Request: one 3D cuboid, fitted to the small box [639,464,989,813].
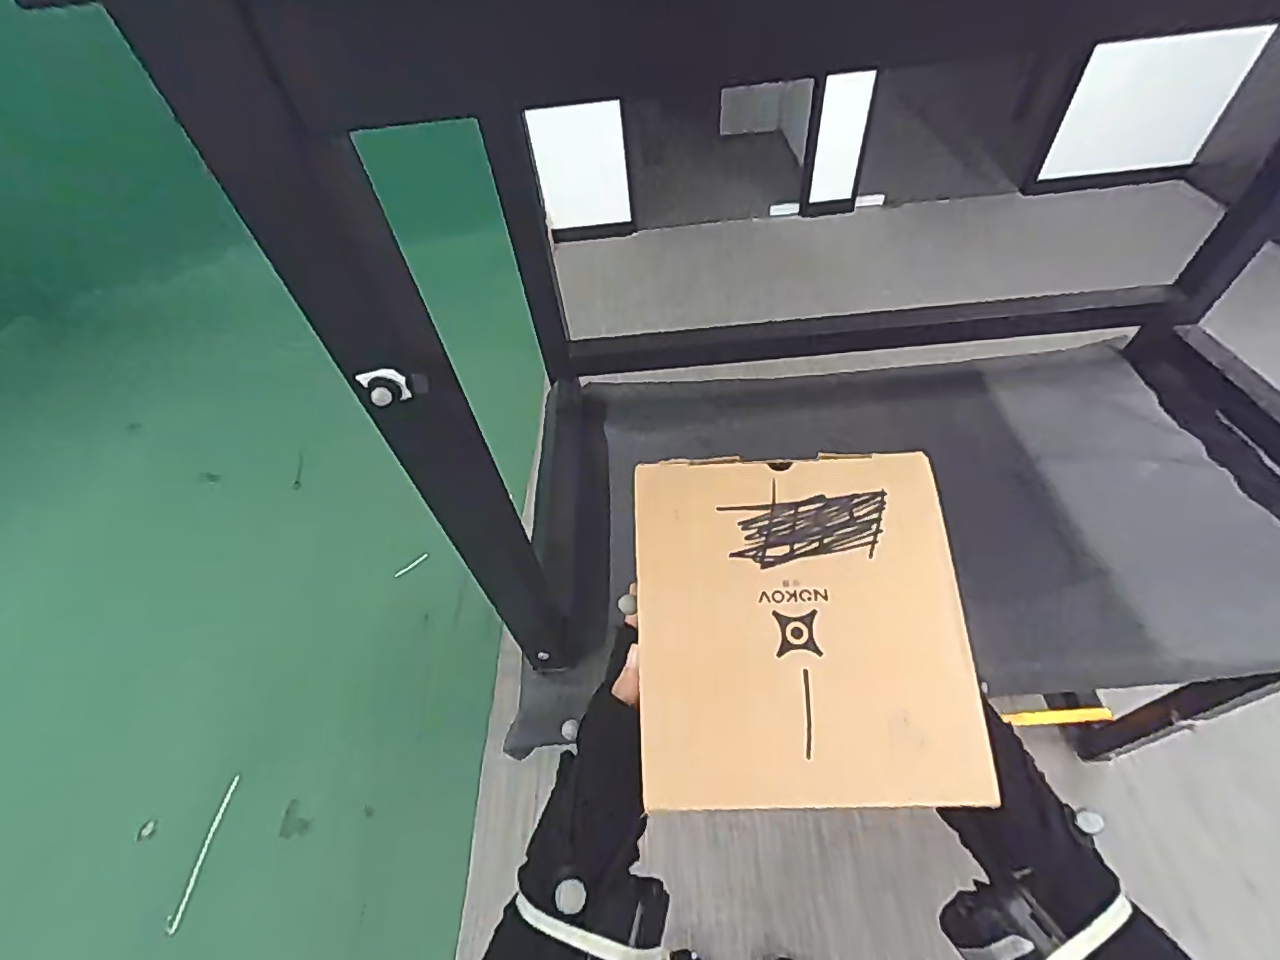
[{"bbox_3d":[0.084,0.100,0.357,0.168,0.176,0.179,-2,72,3],"label":"small box"}]
